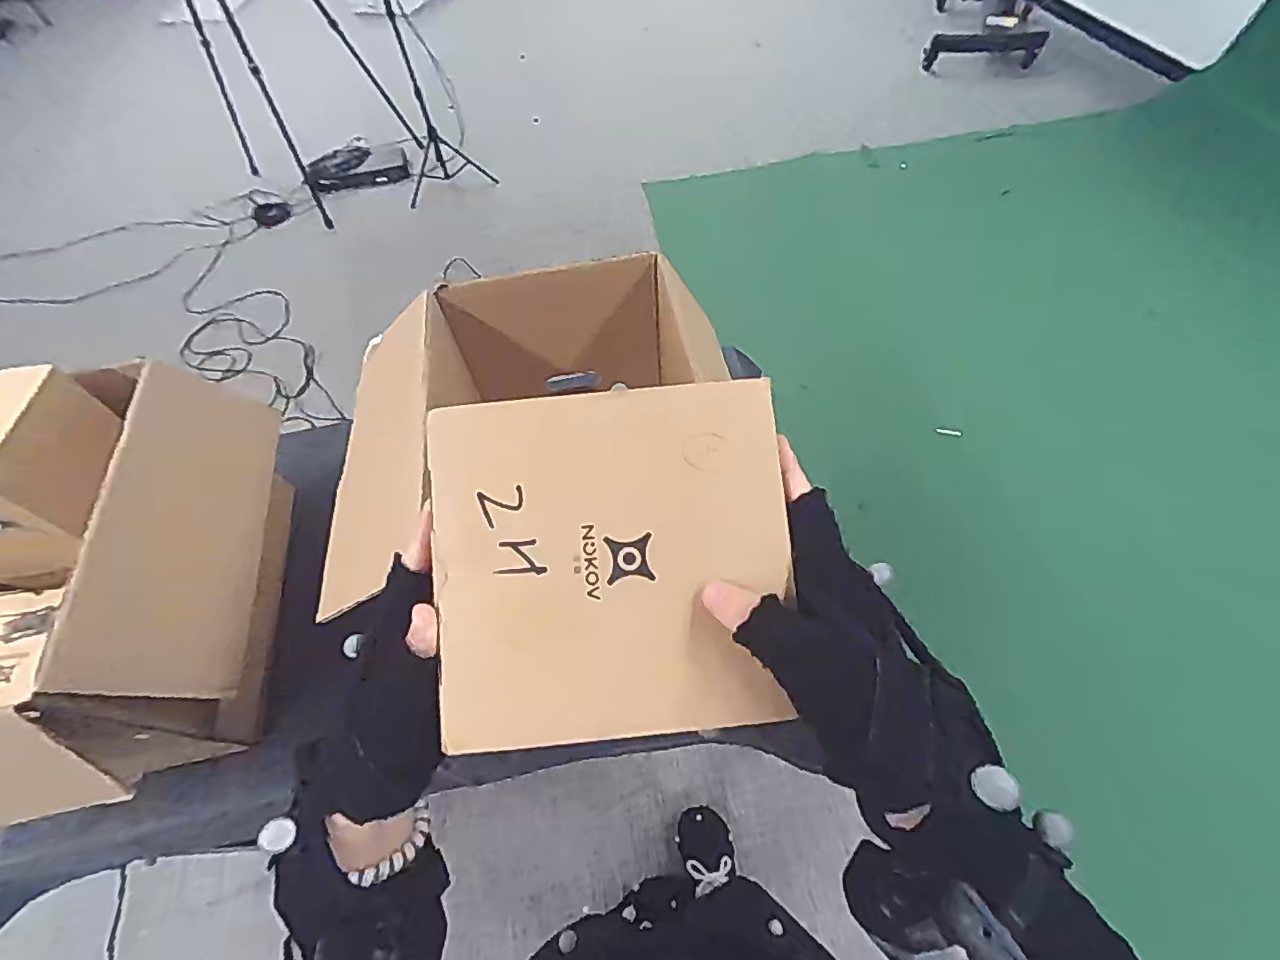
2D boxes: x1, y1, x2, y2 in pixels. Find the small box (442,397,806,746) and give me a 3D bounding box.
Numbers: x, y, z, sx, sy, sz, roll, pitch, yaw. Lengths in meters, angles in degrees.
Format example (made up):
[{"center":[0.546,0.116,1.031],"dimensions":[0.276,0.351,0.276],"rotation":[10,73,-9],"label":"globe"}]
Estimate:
[{"center":[-0.012,0.052,0.350],"dimensions":[0.179,0.176,0.168],"rotation":[-4,82,-1],"label":"small box"}]
